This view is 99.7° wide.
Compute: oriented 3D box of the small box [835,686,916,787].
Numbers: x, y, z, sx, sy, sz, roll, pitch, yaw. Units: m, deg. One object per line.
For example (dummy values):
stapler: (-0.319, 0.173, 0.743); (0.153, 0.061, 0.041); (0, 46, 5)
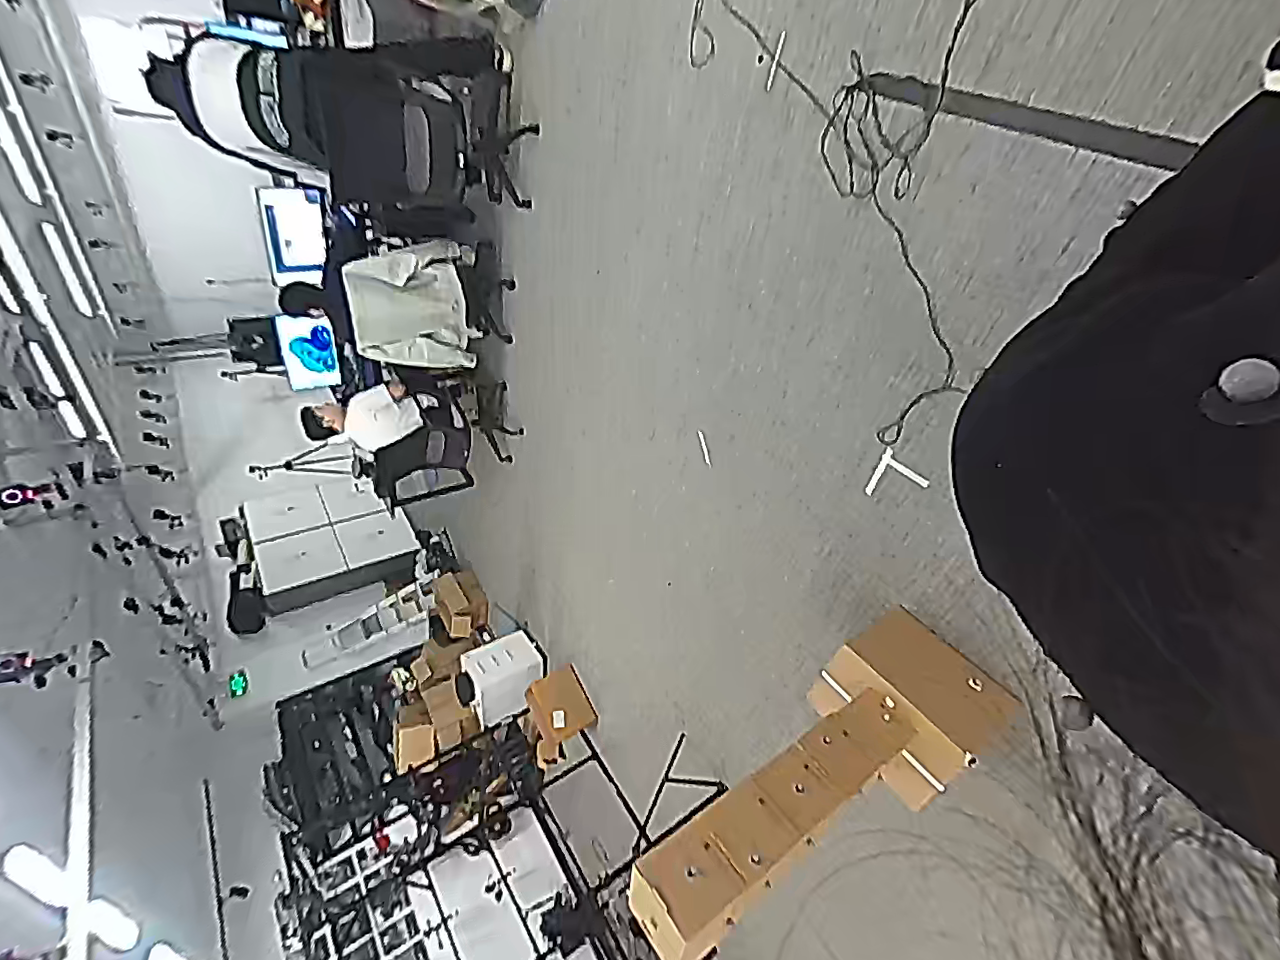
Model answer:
small box: (0.624, 0.713, 1.496); (0.168, 0.176, 0.179); (43, 136, 36)

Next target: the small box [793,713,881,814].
small box: (0.493, 0.745, 1.406); (0.168, 0.176, 0.179); (43, 137, 38)

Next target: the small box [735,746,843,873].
small box: (0.363, 0.790, 1.314); (0.168, 0.176, 0.179); (40, 134, 41)

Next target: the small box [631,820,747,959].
small box: (0.102, 0.864, 1.131); (0.168, 0.176, 0.179); (36, 130, 43)
